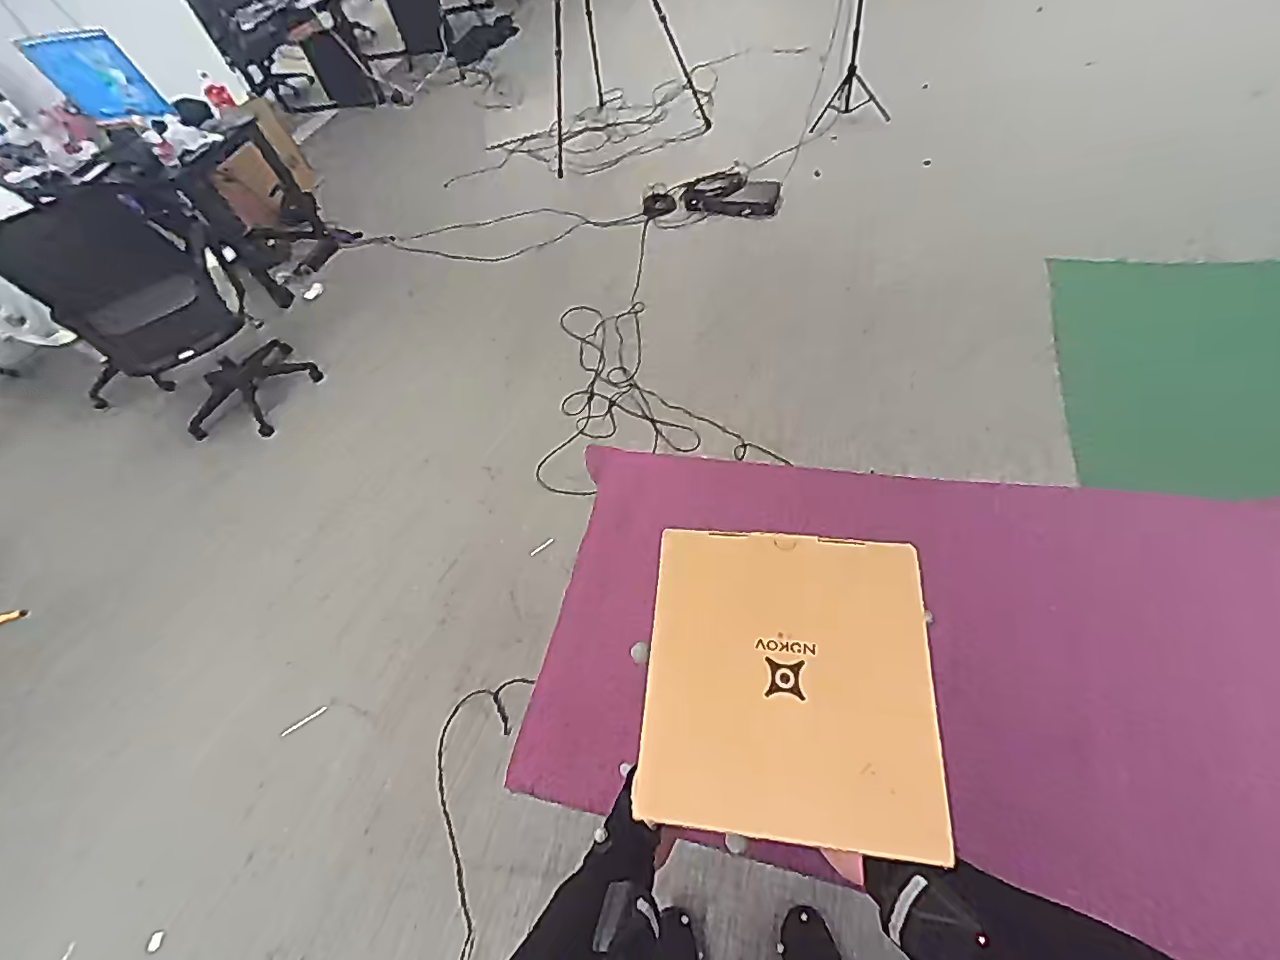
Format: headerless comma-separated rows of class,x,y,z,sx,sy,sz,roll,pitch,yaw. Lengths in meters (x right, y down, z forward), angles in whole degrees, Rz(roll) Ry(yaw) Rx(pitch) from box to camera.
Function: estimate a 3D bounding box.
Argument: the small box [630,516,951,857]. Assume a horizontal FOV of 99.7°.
small box,0.096,0.143,0.387,0.168,0.176,0.179,3,61,10
